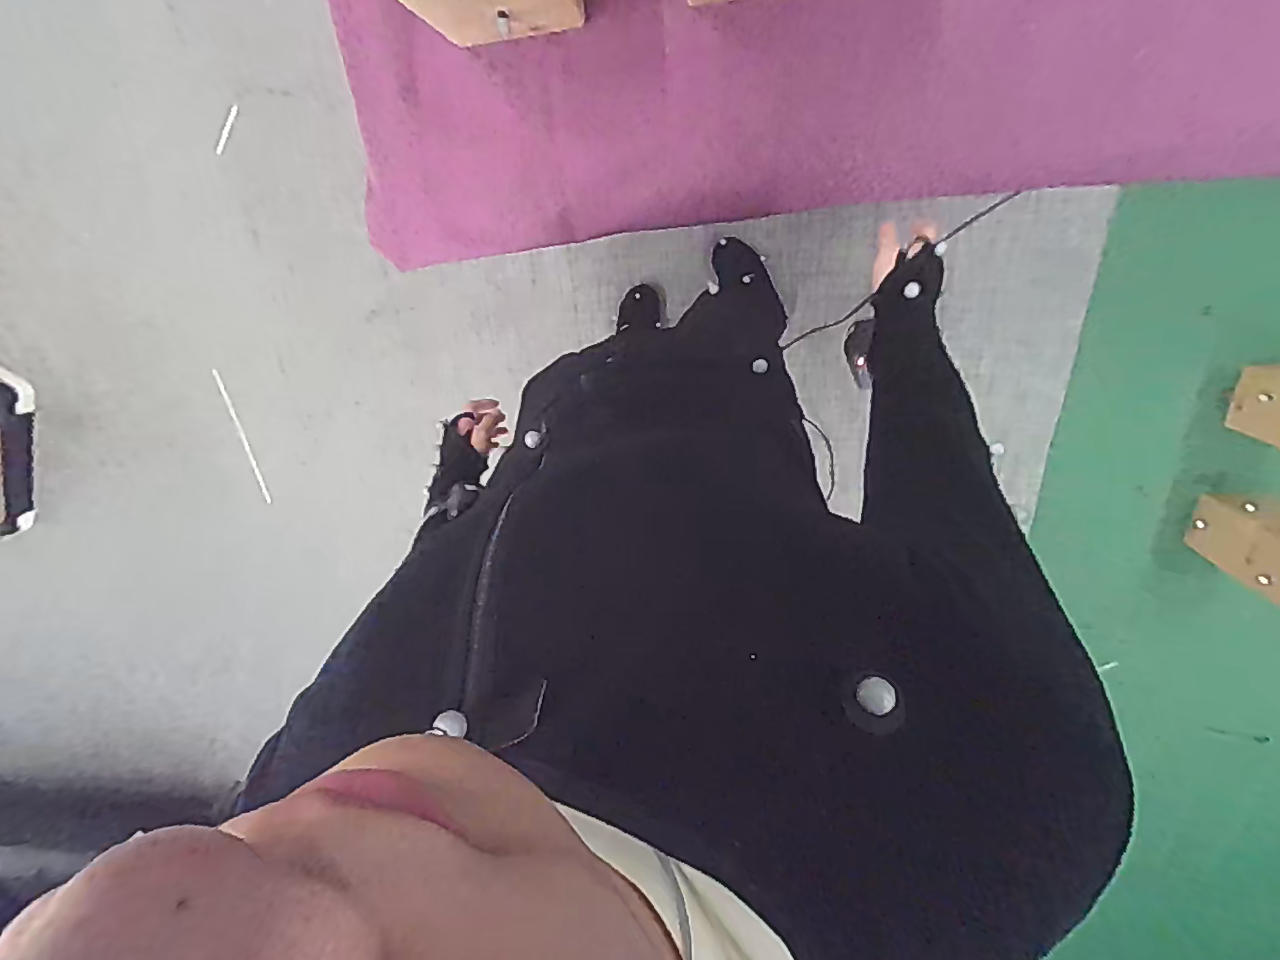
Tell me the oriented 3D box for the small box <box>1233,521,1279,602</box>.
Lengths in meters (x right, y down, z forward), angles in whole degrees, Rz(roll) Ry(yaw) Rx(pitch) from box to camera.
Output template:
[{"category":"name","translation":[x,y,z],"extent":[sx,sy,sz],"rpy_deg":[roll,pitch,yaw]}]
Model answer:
[{"category":"small box","translation":[1.669,0.211,1.349],"extent":[0.179,0.176,0.168],"rpy_deg":[-2,116,8]}]

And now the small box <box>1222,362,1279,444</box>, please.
[{"category":"small box","translation":[1.634,-0.196,1.347],"extent":[0.179,0.176,0.168],"rpy_deg":[-3,114,7]}]

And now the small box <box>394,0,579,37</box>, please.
[{"category":"small box","translation":[-0.167,-0.591,0.558],"extent":[0.168,0.176,0.179],"rpy_deg":[-4,115,8]}]
